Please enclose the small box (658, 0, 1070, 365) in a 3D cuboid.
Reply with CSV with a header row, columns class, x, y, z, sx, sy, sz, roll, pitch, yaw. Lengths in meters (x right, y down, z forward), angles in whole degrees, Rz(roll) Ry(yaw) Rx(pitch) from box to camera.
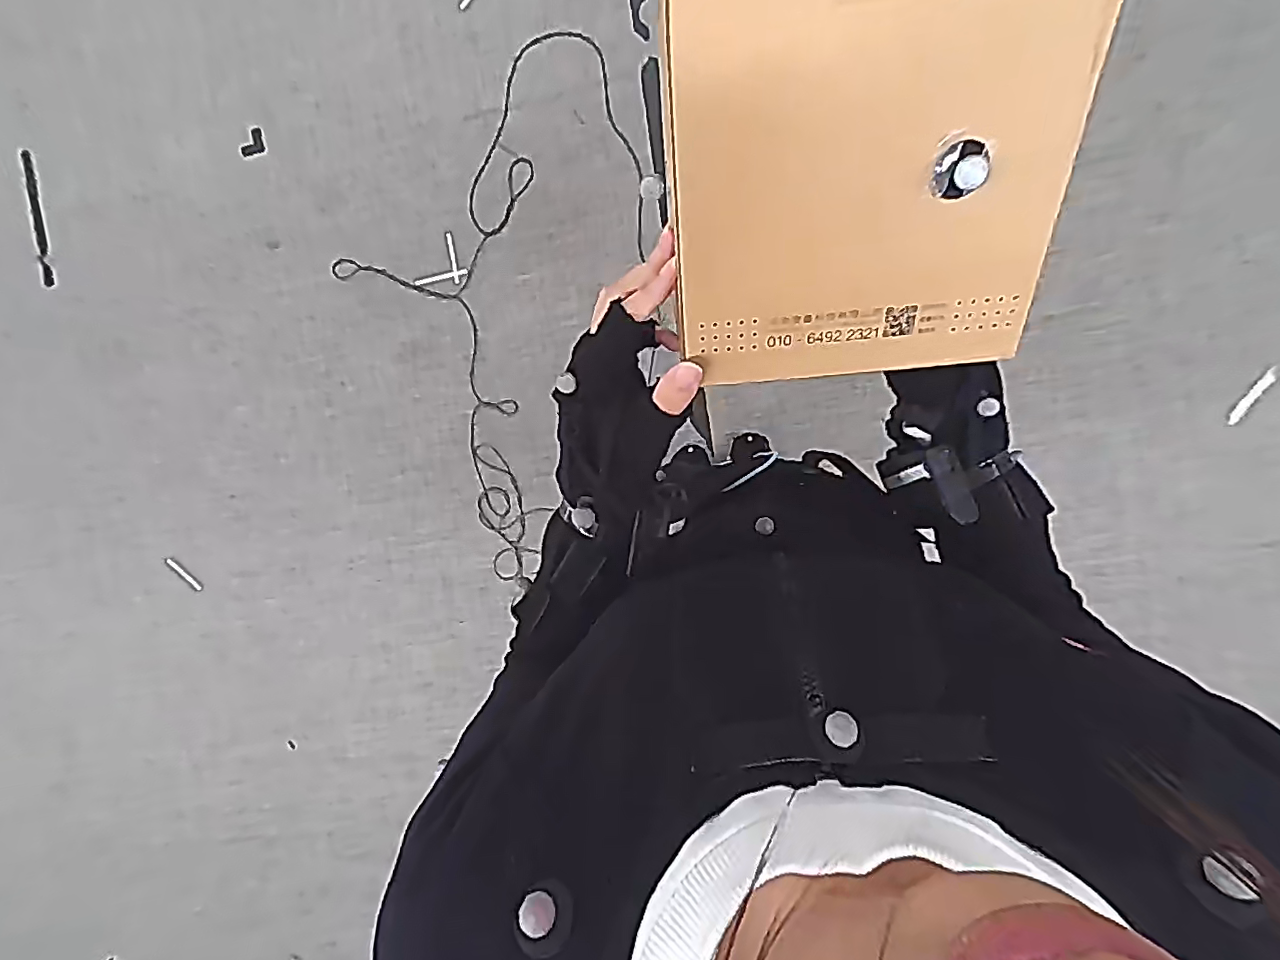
class,x,y,z,sx,sy,sz,roll,pitch,yaw
small box,0.099,-0.173,0.317,0.168,0.179,0.176,-4,124,4
